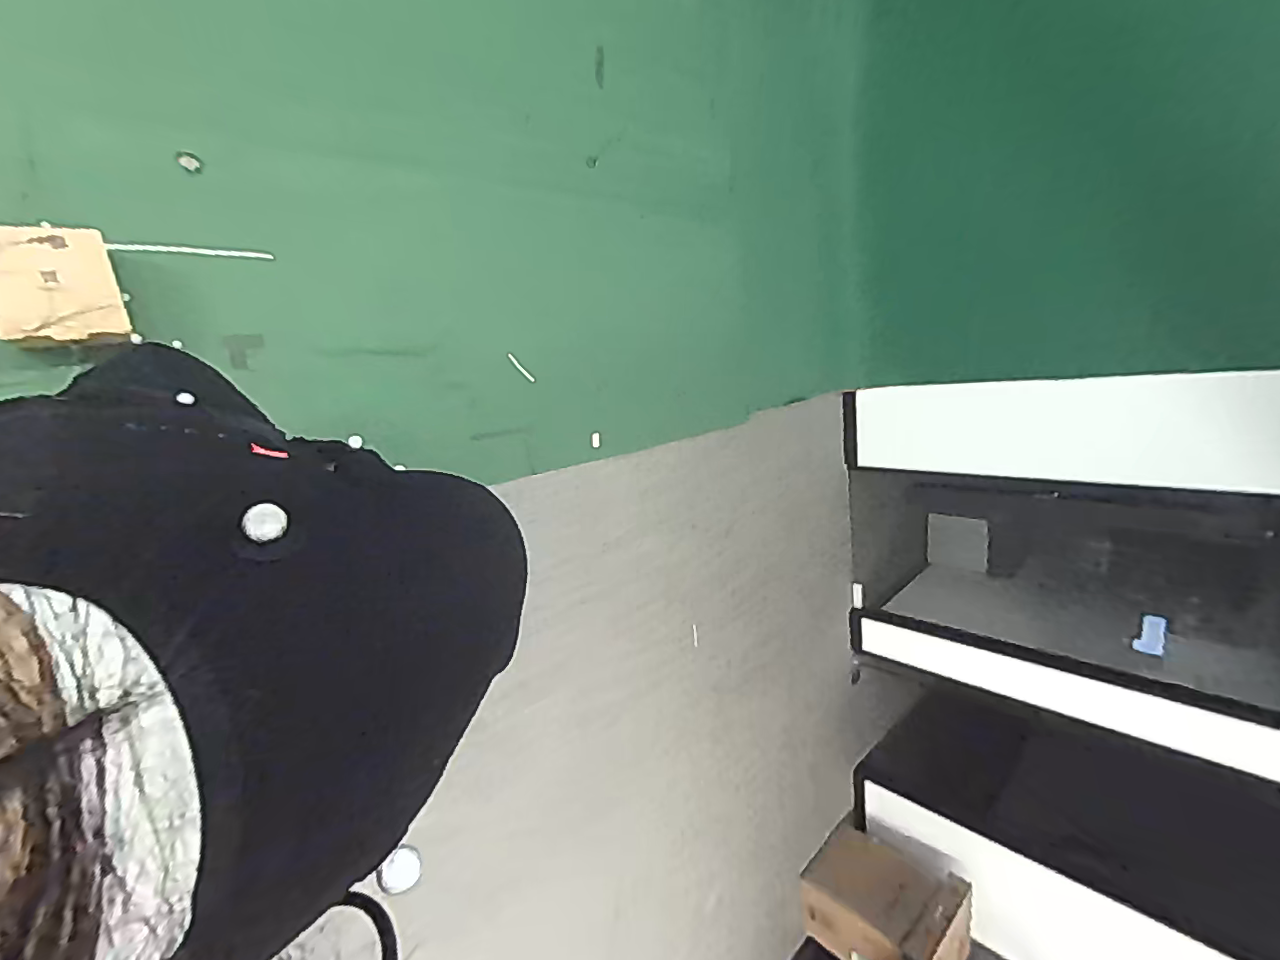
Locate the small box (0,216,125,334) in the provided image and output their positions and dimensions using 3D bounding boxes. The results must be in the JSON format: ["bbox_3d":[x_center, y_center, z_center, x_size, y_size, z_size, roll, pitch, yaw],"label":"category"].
[{"bbox_3d":[-1.039,-0.351,0.949,0.168,0.176,0.179,-19,110,-40],"label":"small box"}]
